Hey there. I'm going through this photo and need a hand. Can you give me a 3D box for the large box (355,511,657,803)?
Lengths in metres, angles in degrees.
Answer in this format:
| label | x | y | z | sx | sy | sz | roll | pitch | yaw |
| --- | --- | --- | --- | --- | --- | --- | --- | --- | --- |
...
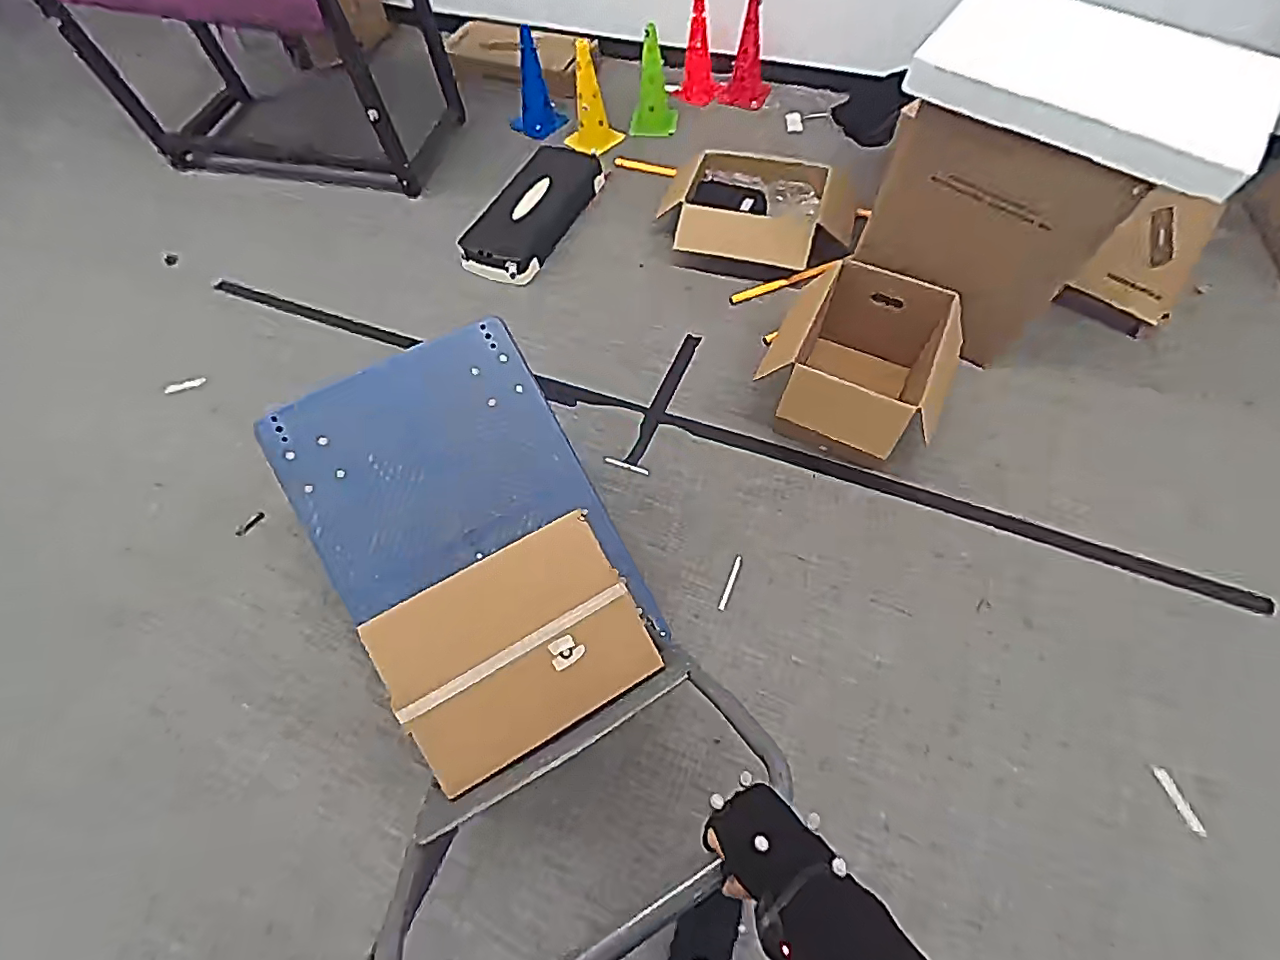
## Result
| label | x | y | z | sx | sy | sz | roll | pitch | yaw |
| --- | --- | --- | --- | --- | --- | --- | --- | --- | --- |
| large box | -0.239 | 0.299 | 1.032 | 0.408 | 0.320 | 0.320 | -29 | 90 | -13 |
